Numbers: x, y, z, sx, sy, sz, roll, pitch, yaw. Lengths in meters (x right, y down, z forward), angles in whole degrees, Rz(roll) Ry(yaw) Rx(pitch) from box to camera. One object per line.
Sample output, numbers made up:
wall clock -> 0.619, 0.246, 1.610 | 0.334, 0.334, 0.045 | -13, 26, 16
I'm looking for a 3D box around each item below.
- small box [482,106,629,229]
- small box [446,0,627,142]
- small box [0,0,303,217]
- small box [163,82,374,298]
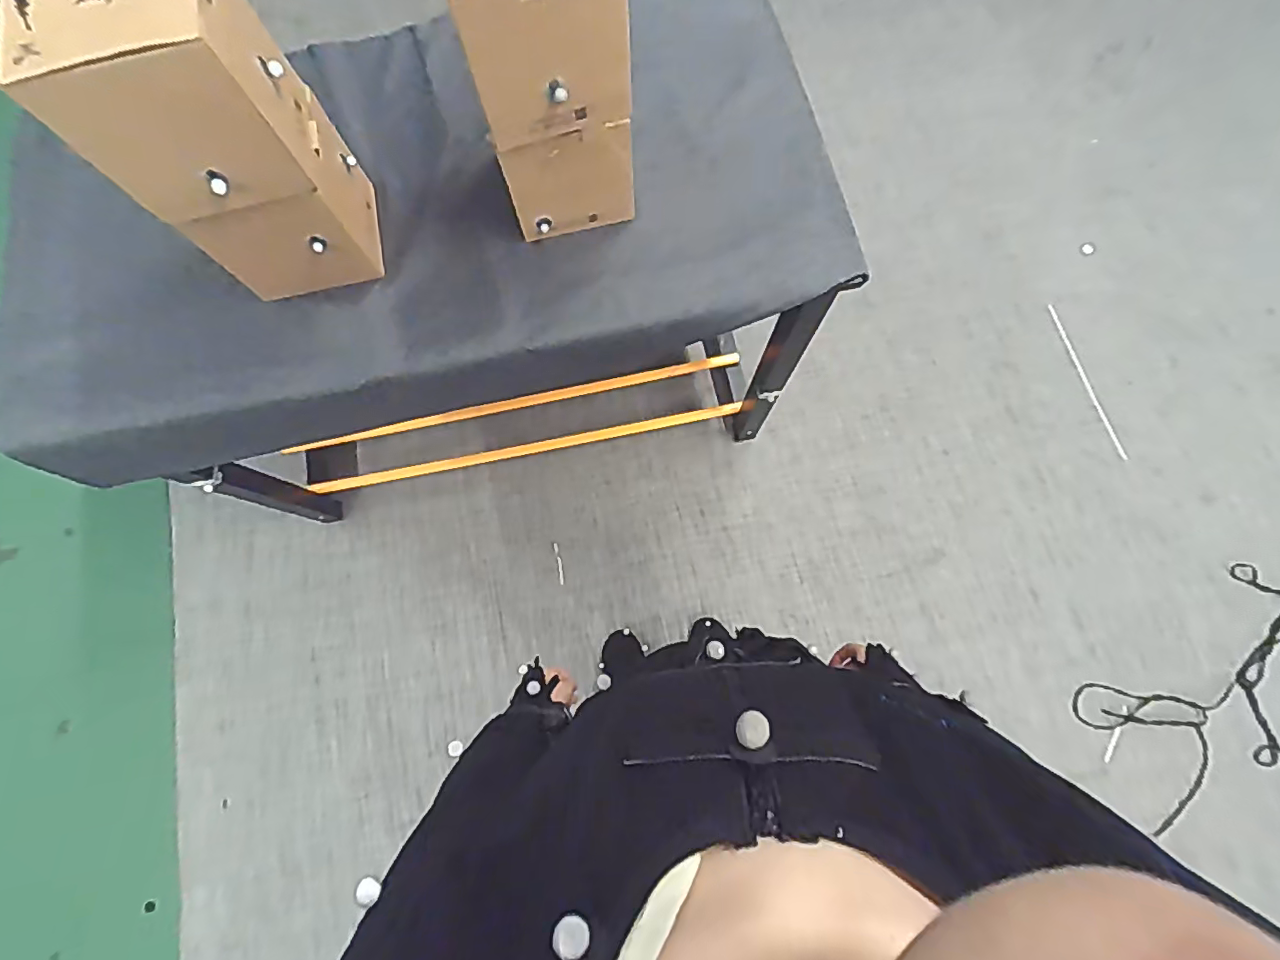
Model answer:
small box -> -0.112, -0.468, 0.730 | 0.168, 0.176, 0.179 | -13, 75, -3
small box -> -0.118, -0.507, 0.570 | 0.168, 0.176, 0.179 | -19, 76, -3
small box -> -0.474, -0.406, 0.550 | 0.179, 0.176, 0.168 | -16, 74, -4
small box -> -0.472, -0.369, 0.711 | 0.179, 0.176, 0.168 | -14, 74, -2
